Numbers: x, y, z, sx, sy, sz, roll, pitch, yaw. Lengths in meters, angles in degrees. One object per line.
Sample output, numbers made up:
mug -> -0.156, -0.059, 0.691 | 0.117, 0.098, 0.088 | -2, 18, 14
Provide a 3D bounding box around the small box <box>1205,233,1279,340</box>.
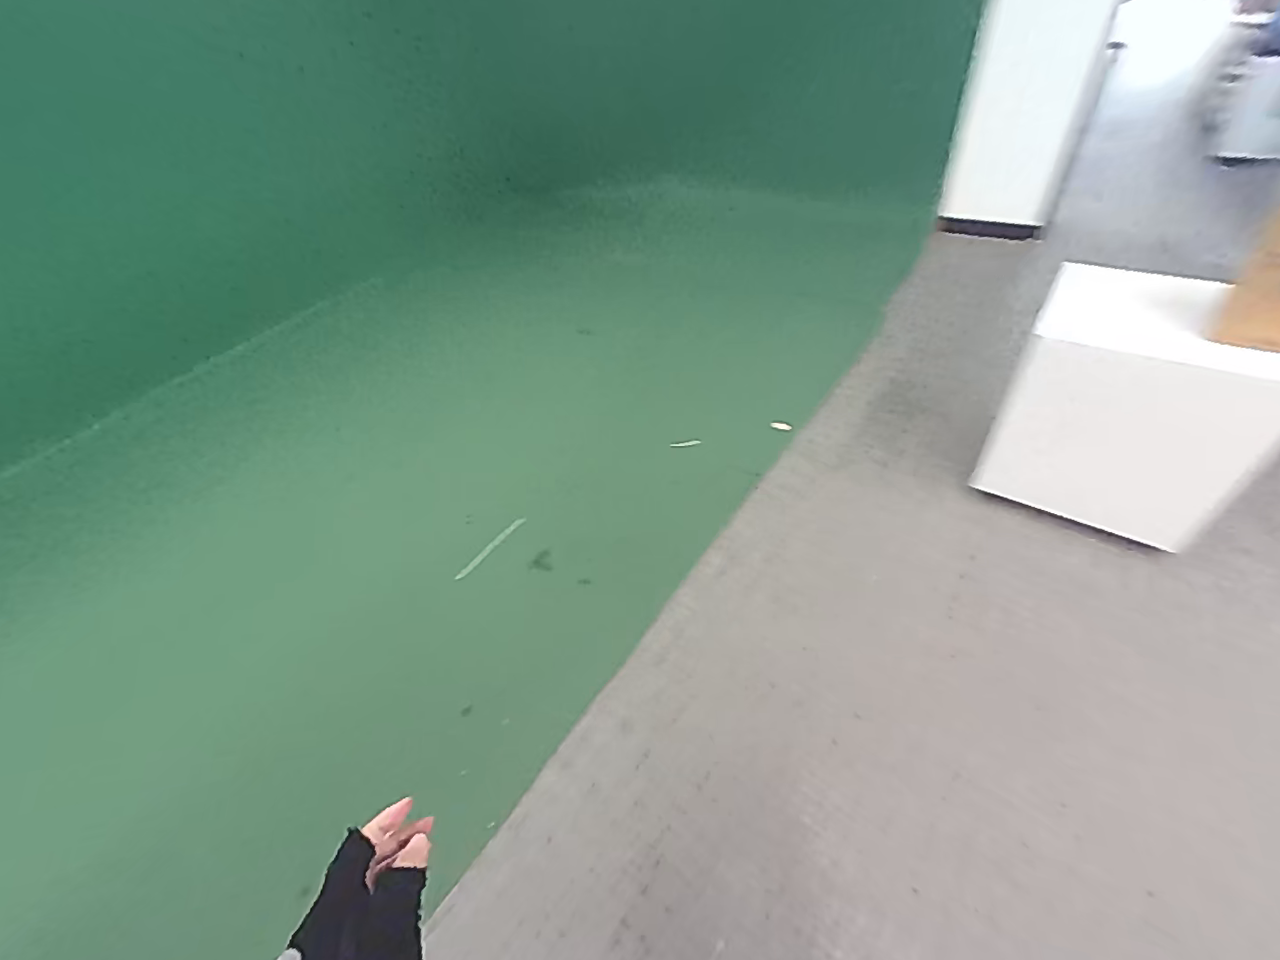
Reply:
small box -> 1.369, -0.424, 1.159 | 0.168, 0.176, 0.179 | 24, 56, 31
